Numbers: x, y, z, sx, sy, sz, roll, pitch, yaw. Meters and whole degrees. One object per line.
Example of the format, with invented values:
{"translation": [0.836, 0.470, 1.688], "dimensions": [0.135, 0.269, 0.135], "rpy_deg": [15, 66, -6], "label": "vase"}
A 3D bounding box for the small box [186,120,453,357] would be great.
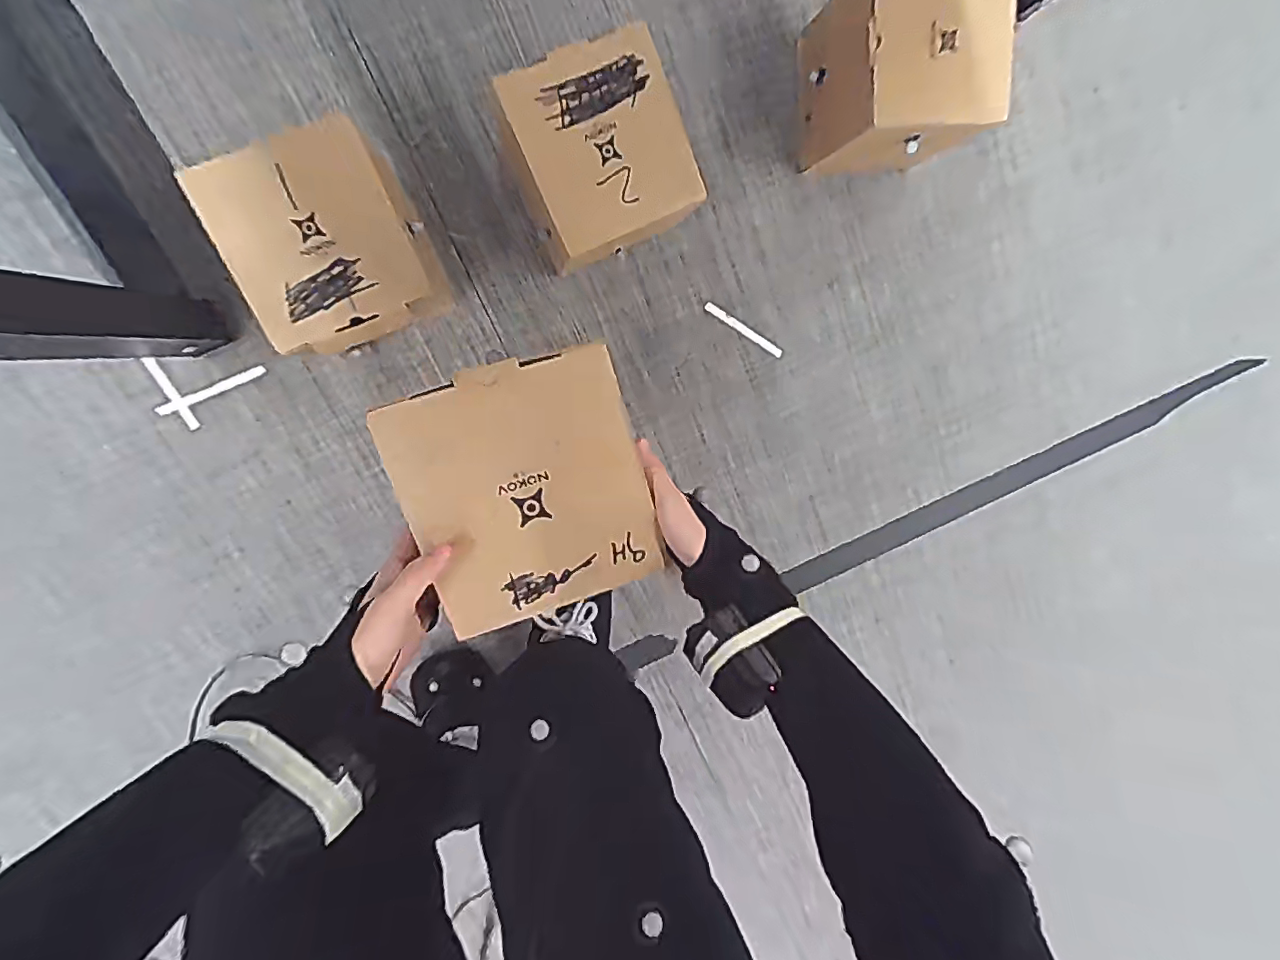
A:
{"translation": [-0.325, -0.247, 0.597], "dimensions": [0.168, 0.176, 0.179], "rpy_deg": [-24, 105, -6], "label": "small box"}

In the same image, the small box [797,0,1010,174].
{"translation": [0.315, -0.496, 0.673], "dimensions": [0.179, 0.176, 0.168], "rpy_deg": [-8, 105, -9], "label": "small box"}

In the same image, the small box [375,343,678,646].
{"translation": [-0.086, -0.001, 0.445], "dimensions": [0.168, 0.176, 0.179], "rpy_deg": [-18, 103, -7], "label": "small box"}
